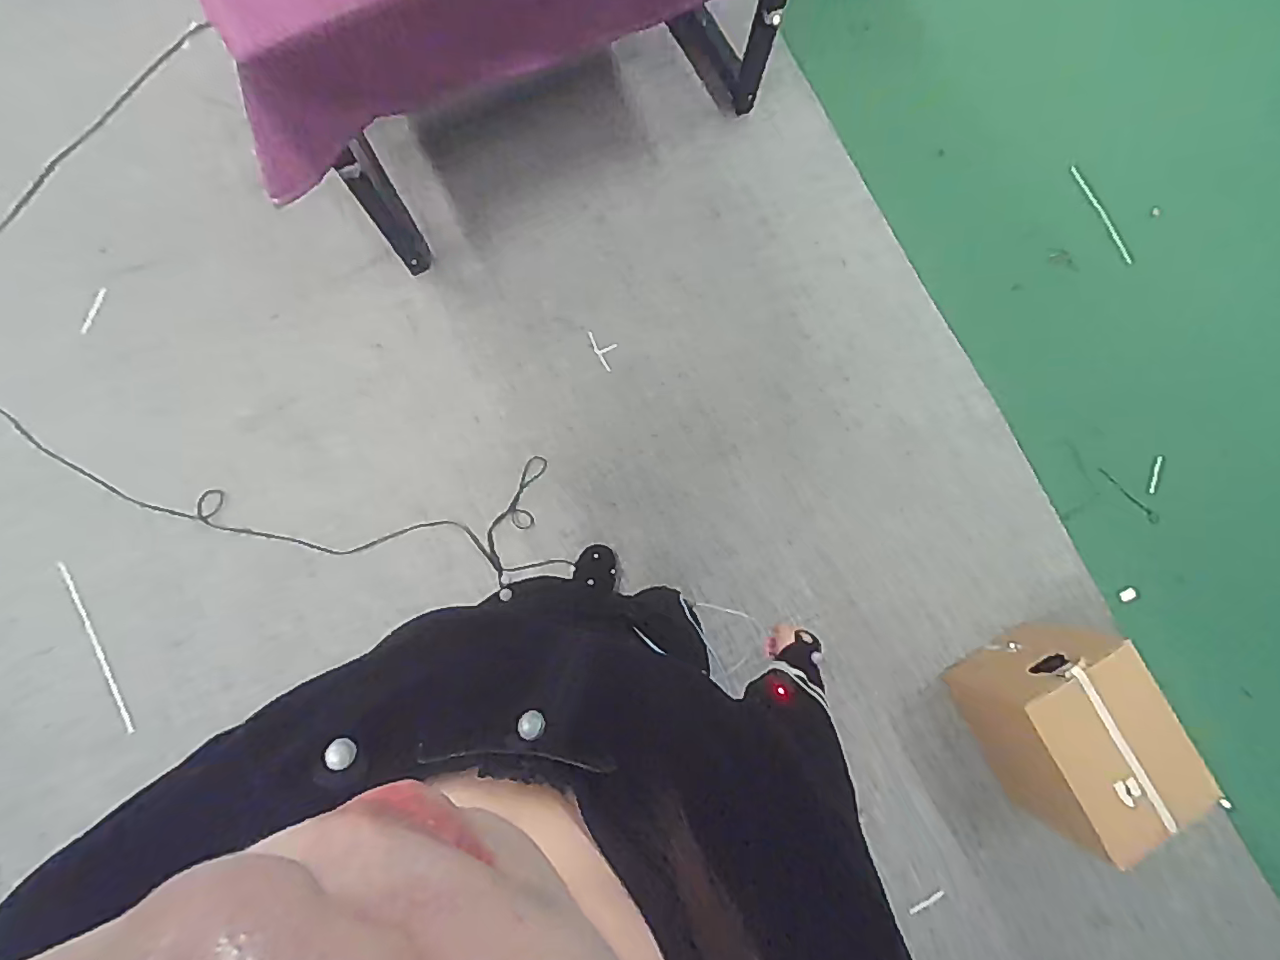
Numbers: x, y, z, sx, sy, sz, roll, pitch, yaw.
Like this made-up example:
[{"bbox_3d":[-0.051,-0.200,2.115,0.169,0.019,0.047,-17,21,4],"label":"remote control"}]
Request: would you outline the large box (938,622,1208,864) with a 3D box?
[{"bbox_3d":[1.066,0.632,1.379,0.320,0.320,0.408,-27,87,-7],"label":"large box"}]
